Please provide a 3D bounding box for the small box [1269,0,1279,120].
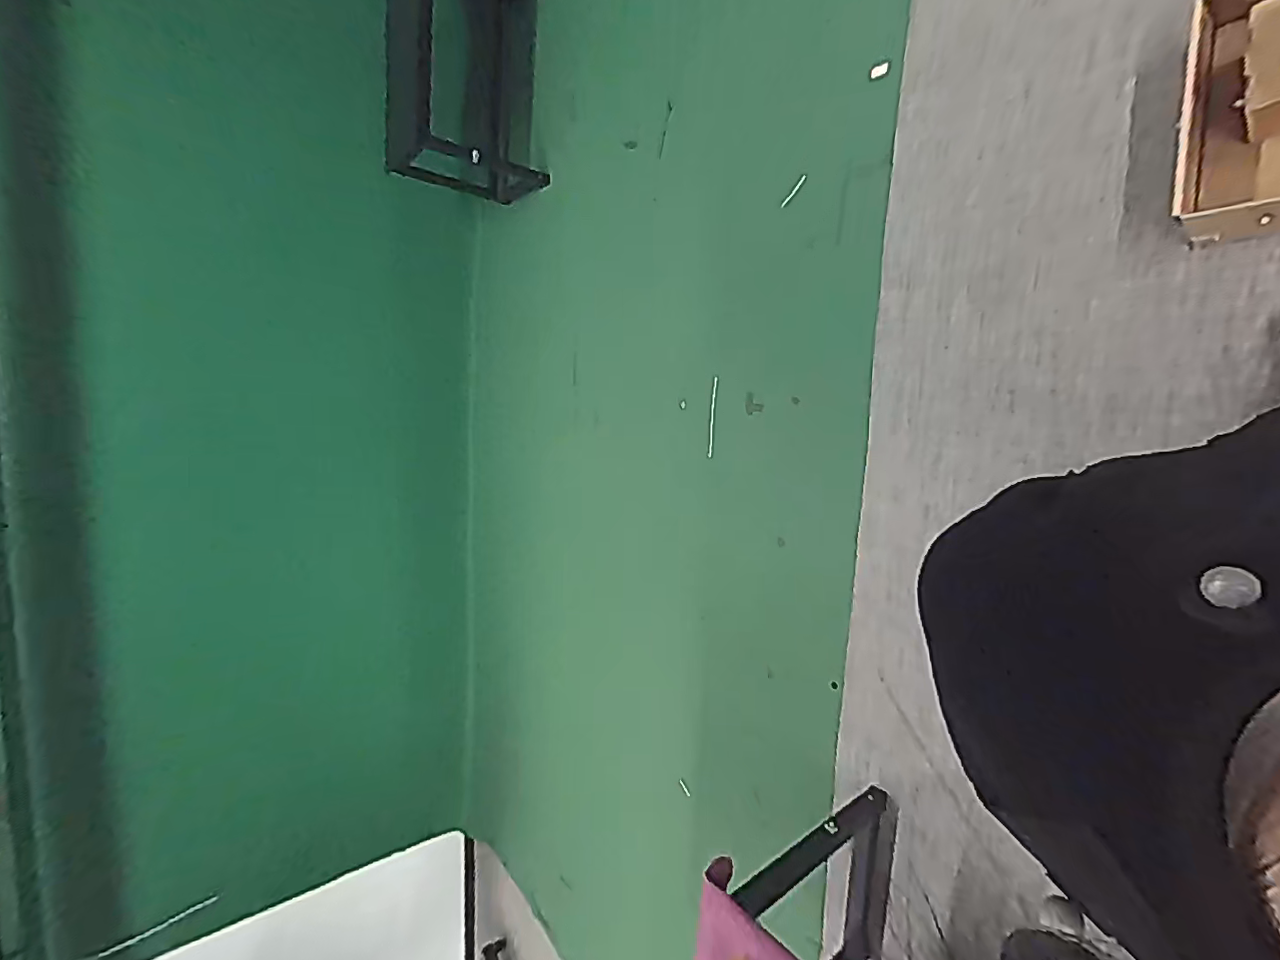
[{"bbox_3d":[1.128,-0.705,0.846,0.179,0.176,0.168,3,97,51],"label":"small box"}]
